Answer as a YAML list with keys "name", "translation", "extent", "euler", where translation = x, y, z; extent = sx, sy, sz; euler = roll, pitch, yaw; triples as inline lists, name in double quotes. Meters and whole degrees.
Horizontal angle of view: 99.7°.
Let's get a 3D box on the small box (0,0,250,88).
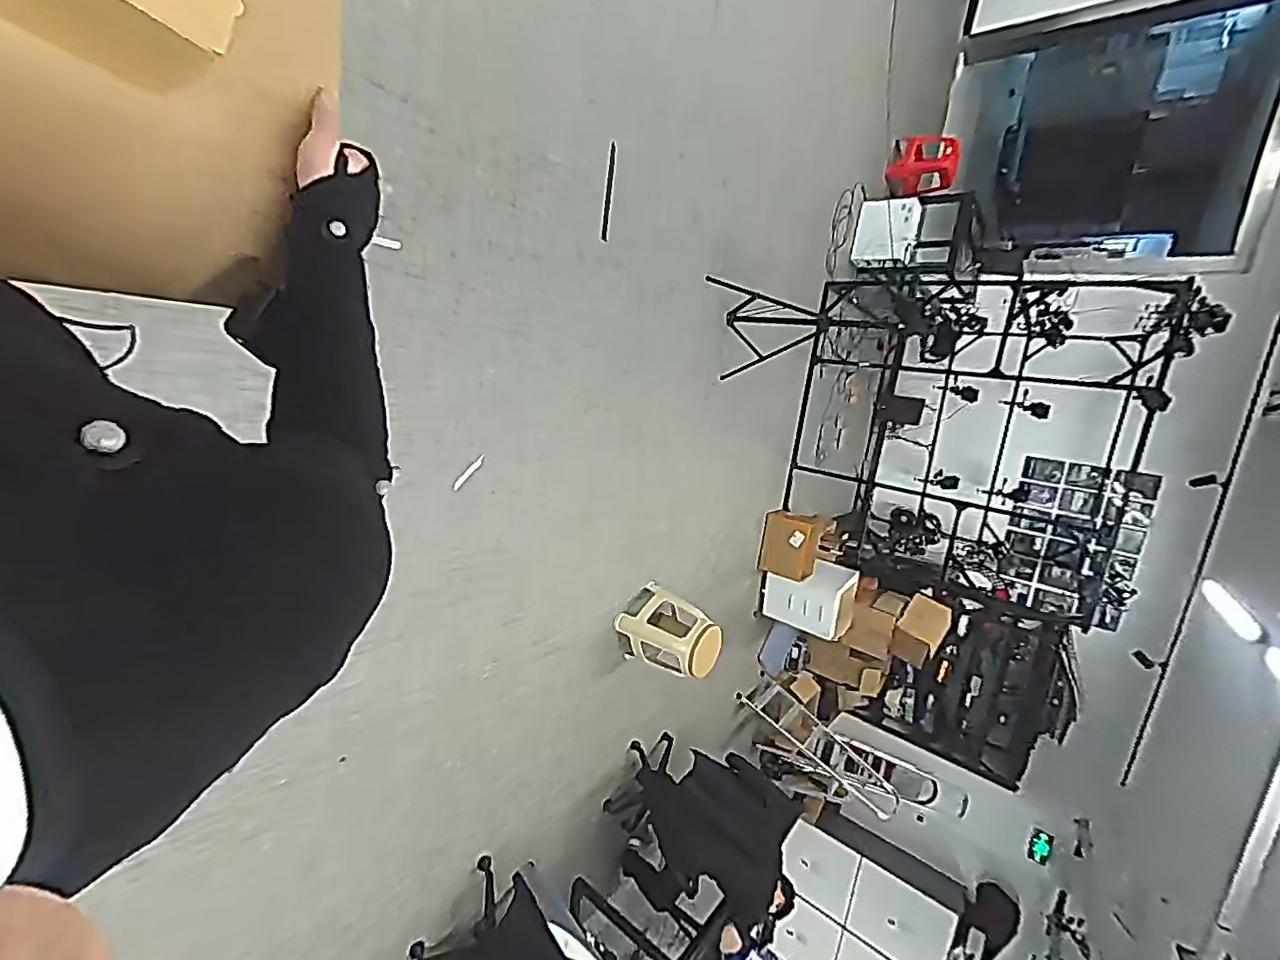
- name: "small box"
  translation: [-0.344, -0.369, 0.315]
  extent: [0.179, 0.176, 0.168]
  euler: [11, 97, -51]
